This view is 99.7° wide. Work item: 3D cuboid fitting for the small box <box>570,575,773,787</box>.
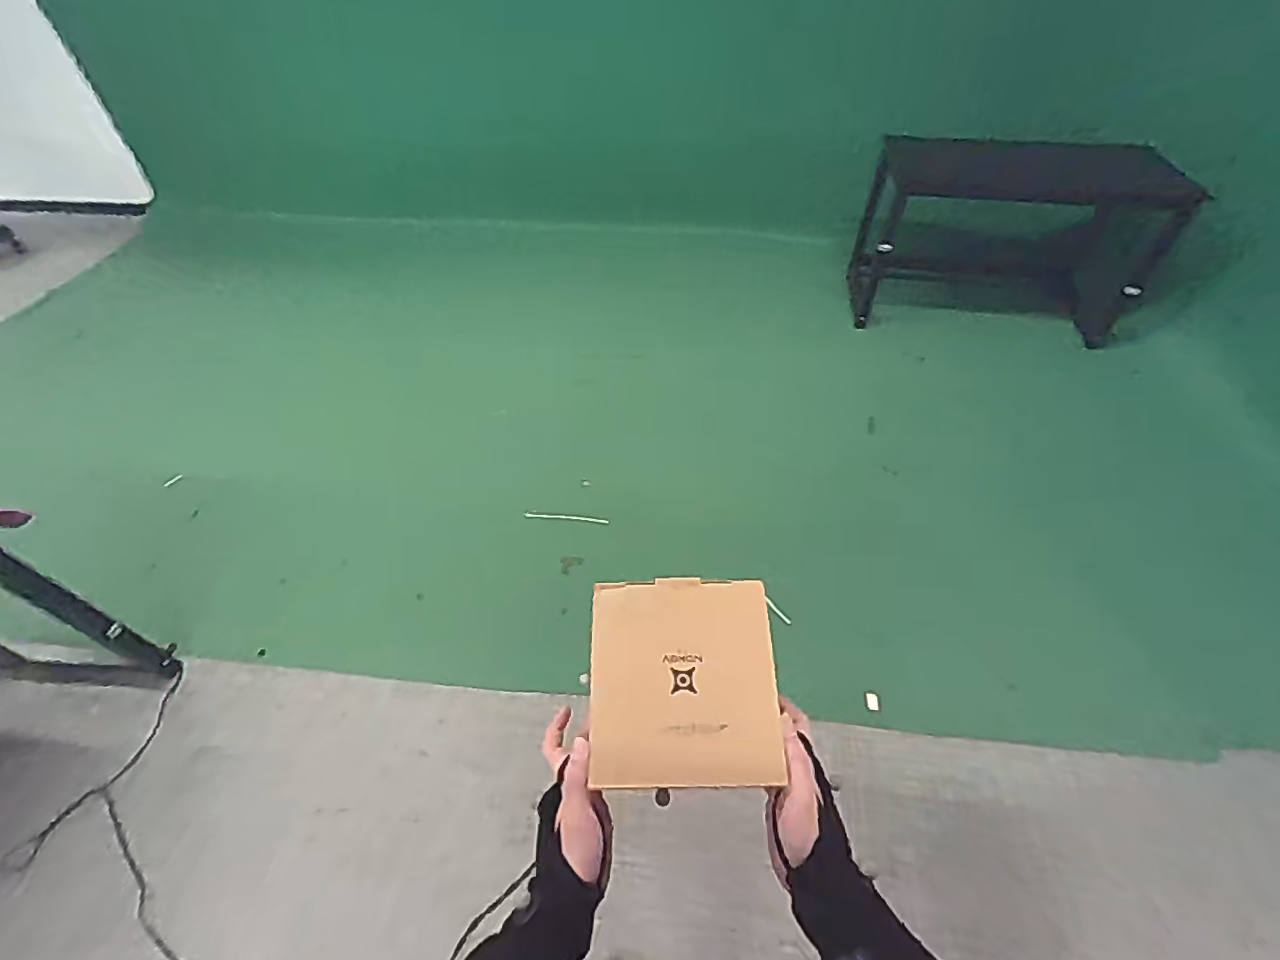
[{"bbox_3d":[0.026,0.206,0.542,0.168,0.176,0.179,-1,62,1],"label":"small box"}]
